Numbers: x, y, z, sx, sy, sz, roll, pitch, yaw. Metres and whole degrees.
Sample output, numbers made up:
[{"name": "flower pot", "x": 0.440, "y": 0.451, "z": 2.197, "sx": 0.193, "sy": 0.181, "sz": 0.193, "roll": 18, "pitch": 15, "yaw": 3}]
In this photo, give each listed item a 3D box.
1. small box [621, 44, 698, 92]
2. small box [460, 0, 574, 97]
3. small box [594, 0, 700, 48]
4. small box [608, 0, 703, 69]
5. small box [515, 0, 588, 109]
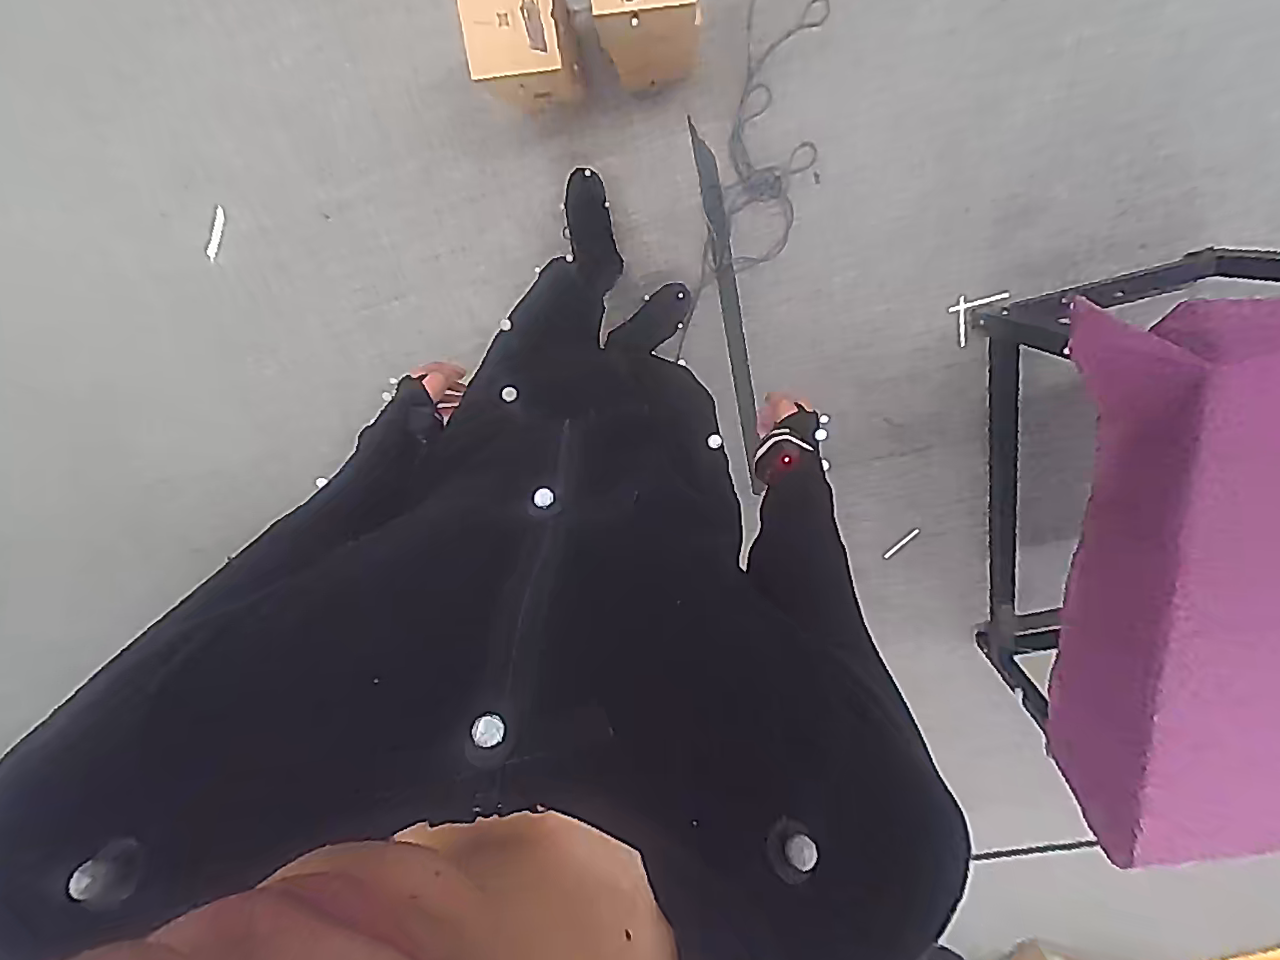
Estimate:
[{"name": "small box", "x": 0.026, "y": -0.976, "z": 1.162, "sx": 0.168, "sy": 0.176, "sz": 0.179, "roll": -11, "pitch": 114, "yaw": 9}, {"name": "small box", "x": -0.229, "y": -0.863, "z": 1.044, "sx": 0.179, "sy": 0.176, "sz": 0.168, "roll": -3, "pitch": 115, "yaw": 5}, {"name": "small box", "x": 0.008, "y": -0.836, "z": 0.868, "sx": 0.168, "sy": 0.176, "sz": 0.179, "roll": -3, "pitch": 114, "yaw": 5}, {"name": "small box", "x": 0.018, "y": -0.907, "z": 1.015, "sx": 0.179, "sy": 0.176, "sz": 0.168, "roll": -10, "pitch": 114, "yaw": 8}, {"name": "small box", "x": -0.218, "y": -0.947, "z": 1.186, "sx": 0.168, "sy": 0.176, "sz": 0.179, "roll": -7, "pitch": 115, "yaw": 7}]
